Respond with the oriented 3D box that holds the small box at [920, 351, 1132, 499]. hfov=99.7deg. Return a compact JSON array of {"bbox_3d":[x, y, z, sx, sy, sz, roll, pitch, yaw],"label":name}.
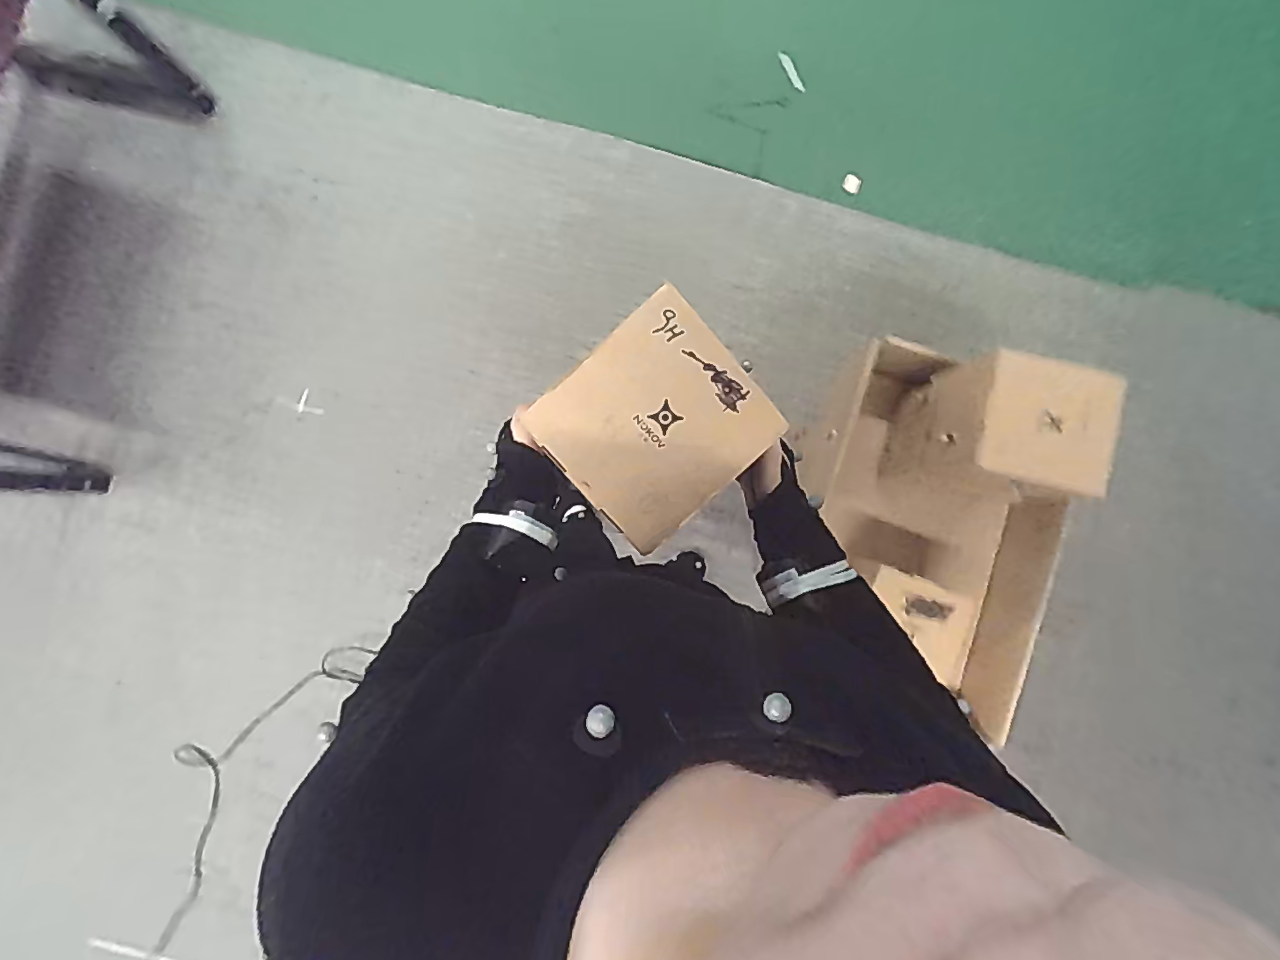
[{"bbox_3d":[0.547,-0.070,0.792,0.179,0.176,0.168,14,88,0],"label":"small box"}]
